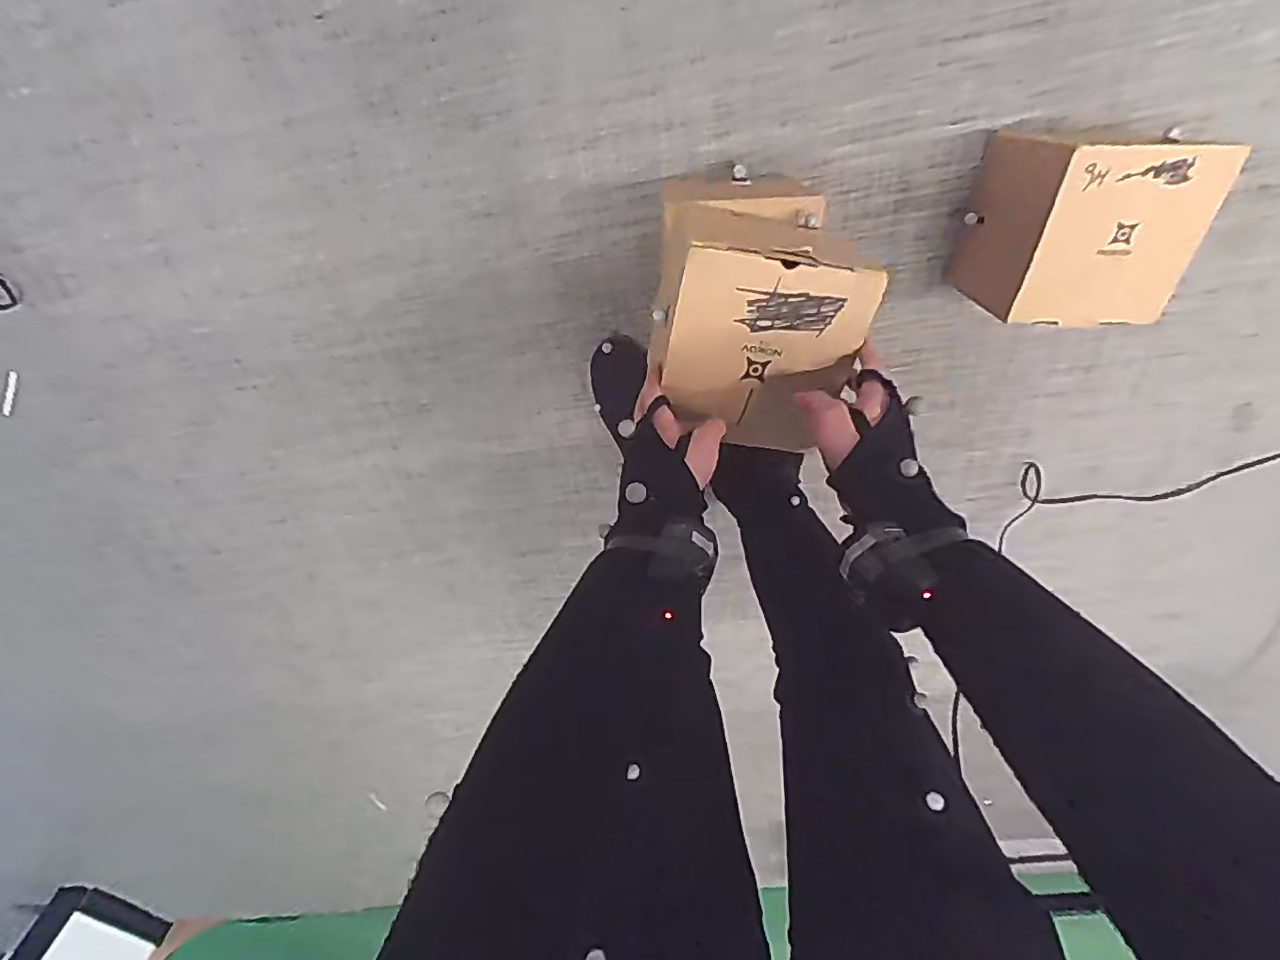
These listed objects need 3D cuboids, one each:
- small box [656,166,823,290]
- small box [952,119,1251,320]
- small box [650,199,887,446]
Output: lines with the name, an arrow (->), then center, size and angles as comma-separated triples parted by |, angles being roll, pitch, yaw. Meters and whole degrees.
small box -> 0.105, -0.266, 0.653 | 0.168, 0.176, 0.179 | -2, 126, 1
small box -> 0.491, -0.300, 0.618 | 0.168, 0.176, 0.179 | 1, 128, 1
small box -> 0.102, -0.158, 0.529 | 0.168, 0.176, 0.179 | 6, 128, -5
